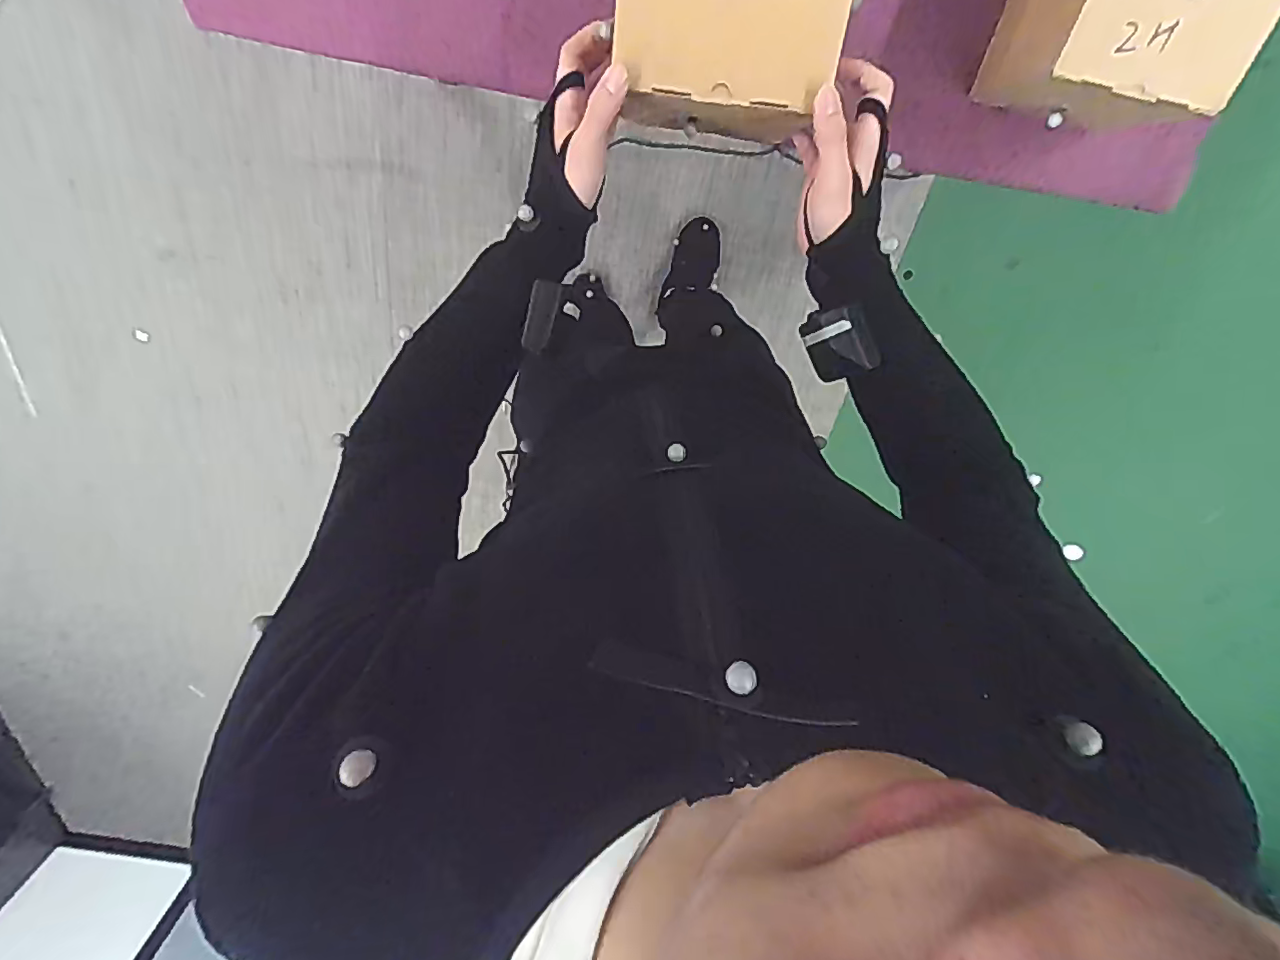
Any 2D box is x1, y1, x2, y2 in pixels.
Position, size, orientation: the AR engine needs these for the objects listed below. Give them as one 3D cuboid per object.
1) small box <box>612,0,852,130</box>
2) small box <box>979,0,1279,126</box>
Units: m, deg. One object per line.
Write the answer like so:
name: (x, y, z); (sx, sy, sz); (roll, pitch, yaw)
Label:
small box: (0.070, -0.400, 0.430); (0.168, 0.176, 0.179); (6, 118, -2)
small box: (0.473, -0.466, 0.521); (0.168, 0.176, 0.179); (13, 119, -2)
